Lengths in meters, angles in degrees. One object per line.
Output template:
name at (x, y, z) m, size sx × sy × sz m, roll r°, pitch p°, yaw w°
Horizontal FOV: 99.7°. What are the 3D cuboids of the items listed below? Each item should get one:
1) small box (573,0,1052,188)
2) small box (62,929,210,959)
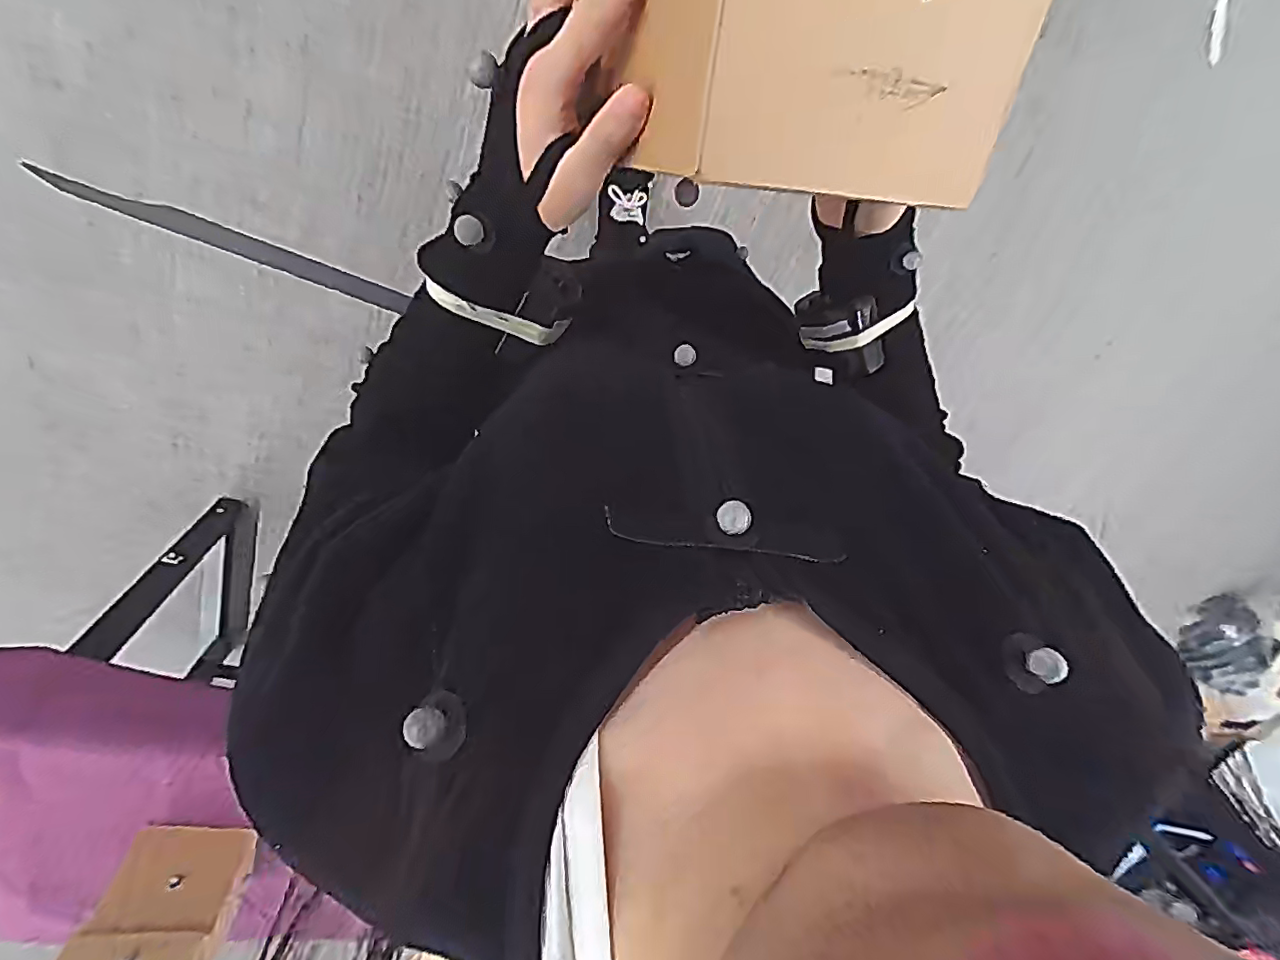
small box at (0.074, -0.252, 0.257) m, size 0.168 × 0.176 × 0.179 m, roll -8°, pitch 125°, yaw -25°
small box at (-0.773, 0.794, 0.789) m, size 0.179 × 0.176 × 0.168 m, roll 12°, pitch 116°, yaw -16°
